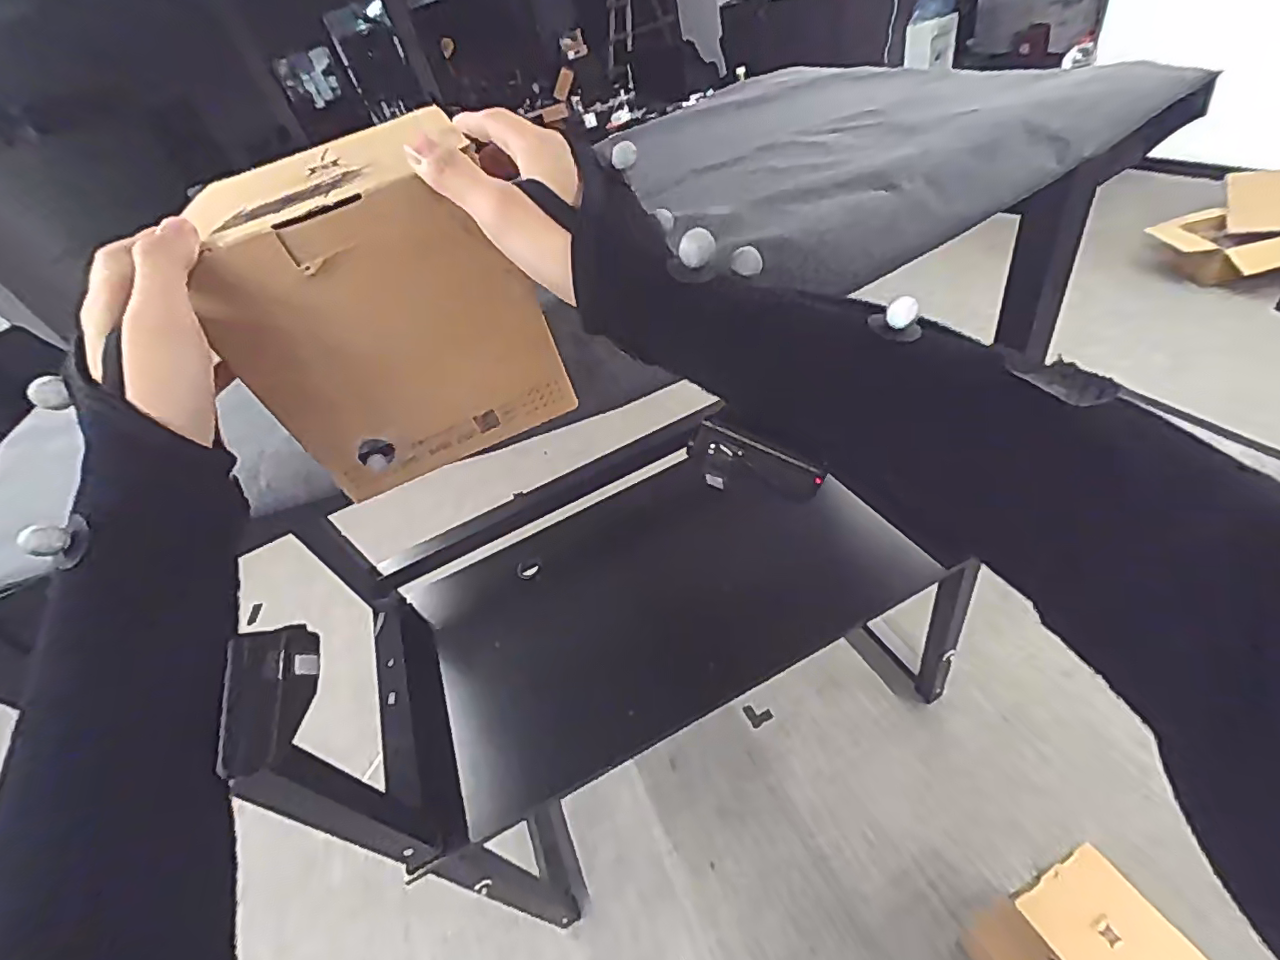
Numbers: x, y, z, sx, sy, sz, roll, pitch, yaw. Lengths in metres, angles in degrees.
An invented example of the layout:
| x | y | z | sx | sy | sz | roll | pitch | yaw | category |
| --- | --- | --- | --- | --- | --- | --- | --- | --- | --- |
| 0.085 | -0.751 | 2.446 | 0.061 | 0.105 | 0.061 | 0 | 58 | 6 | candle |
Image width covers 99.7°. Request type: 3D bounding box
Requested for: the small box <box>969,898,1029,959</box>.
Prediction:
| x | y | z | sx | sy | sz | roll | pitch | yaw | category |
| --- | --- | --- | --- | --- | --- | --- | --- | --- | --- |
| 0.790 | 0.954 | 1.073 | 0.179 | 0.176 | 0.168 | -29 | 43 | -9 | small box |

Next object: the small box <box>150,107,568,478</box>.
| x | y | z | sx | sy | sz | roll | pitch | yaw | category |
| --- | --- | --- | --- | --- | --- | --- | --- | --- | --- |
| -0.166 | -0.123 | 0.373 | 0.168 | 0.176 | 0.179 | -25 | 44 | -6 | small box |

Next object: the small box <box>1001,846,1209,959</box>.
| x | y | z | sx | sy | sz | roll | pitch | yaw | category |
| --- | --- | --- | --- | --- | --- | --- | --- | --- | --- |
| 0.716 | 0.727 | 0.850 | 0.168 | 0.176 | 0.179 | -29 | 43 | -11 | small box |
